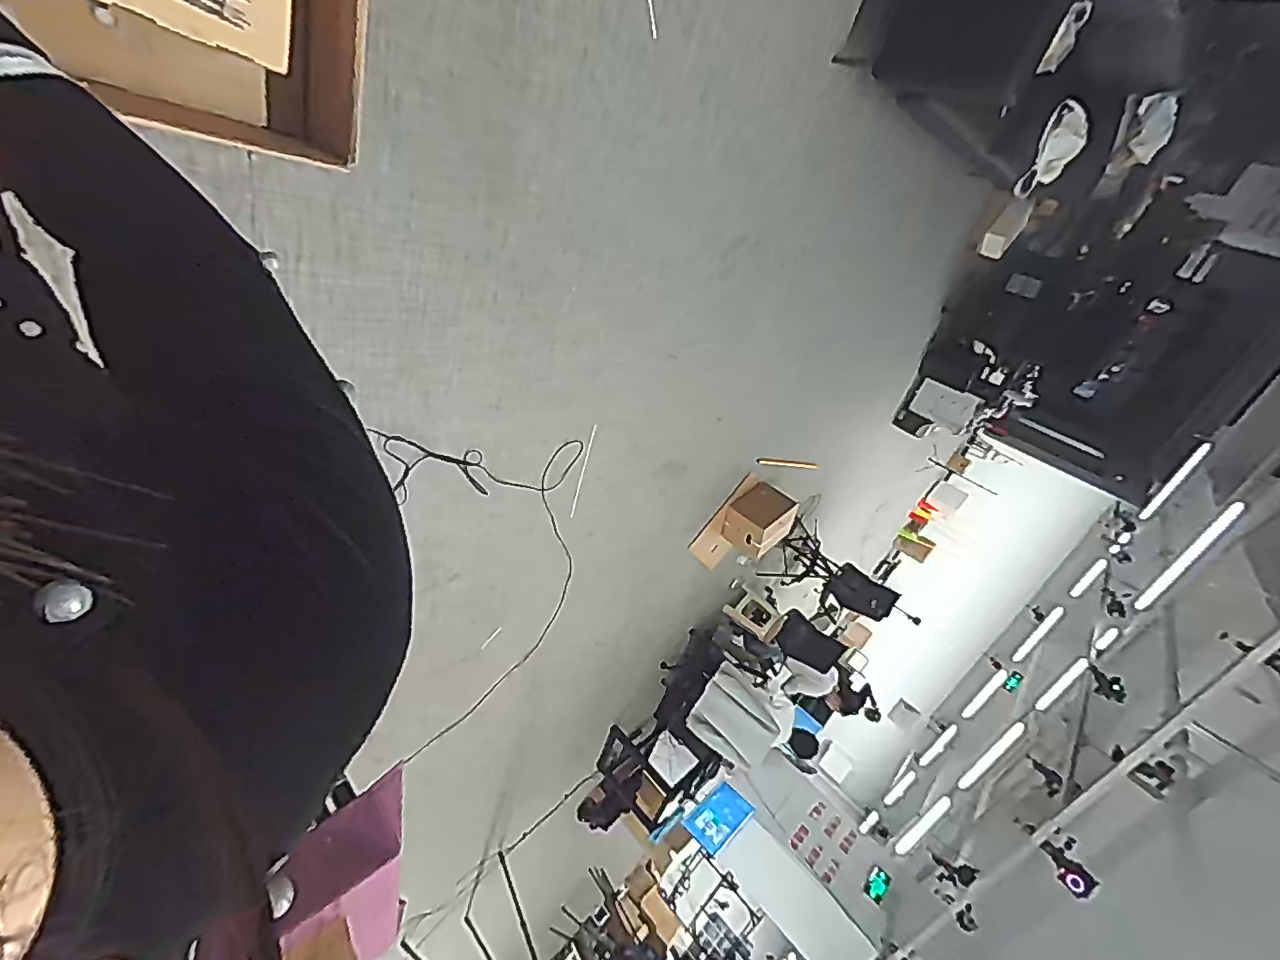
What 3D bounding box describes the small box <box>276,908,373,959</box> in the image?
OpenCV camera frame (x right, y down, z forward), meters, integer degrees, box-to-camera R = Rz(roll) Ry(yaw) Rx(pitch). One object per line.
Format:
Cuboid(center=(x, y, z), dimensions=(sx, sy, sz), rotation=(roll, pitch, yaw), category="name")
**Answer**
Cuboid(center=(-0.800, 1.254, 1.378), dimensions=(0.179, 0.176, 0.168), rotation=(-16, 134, -43), category="small box")
